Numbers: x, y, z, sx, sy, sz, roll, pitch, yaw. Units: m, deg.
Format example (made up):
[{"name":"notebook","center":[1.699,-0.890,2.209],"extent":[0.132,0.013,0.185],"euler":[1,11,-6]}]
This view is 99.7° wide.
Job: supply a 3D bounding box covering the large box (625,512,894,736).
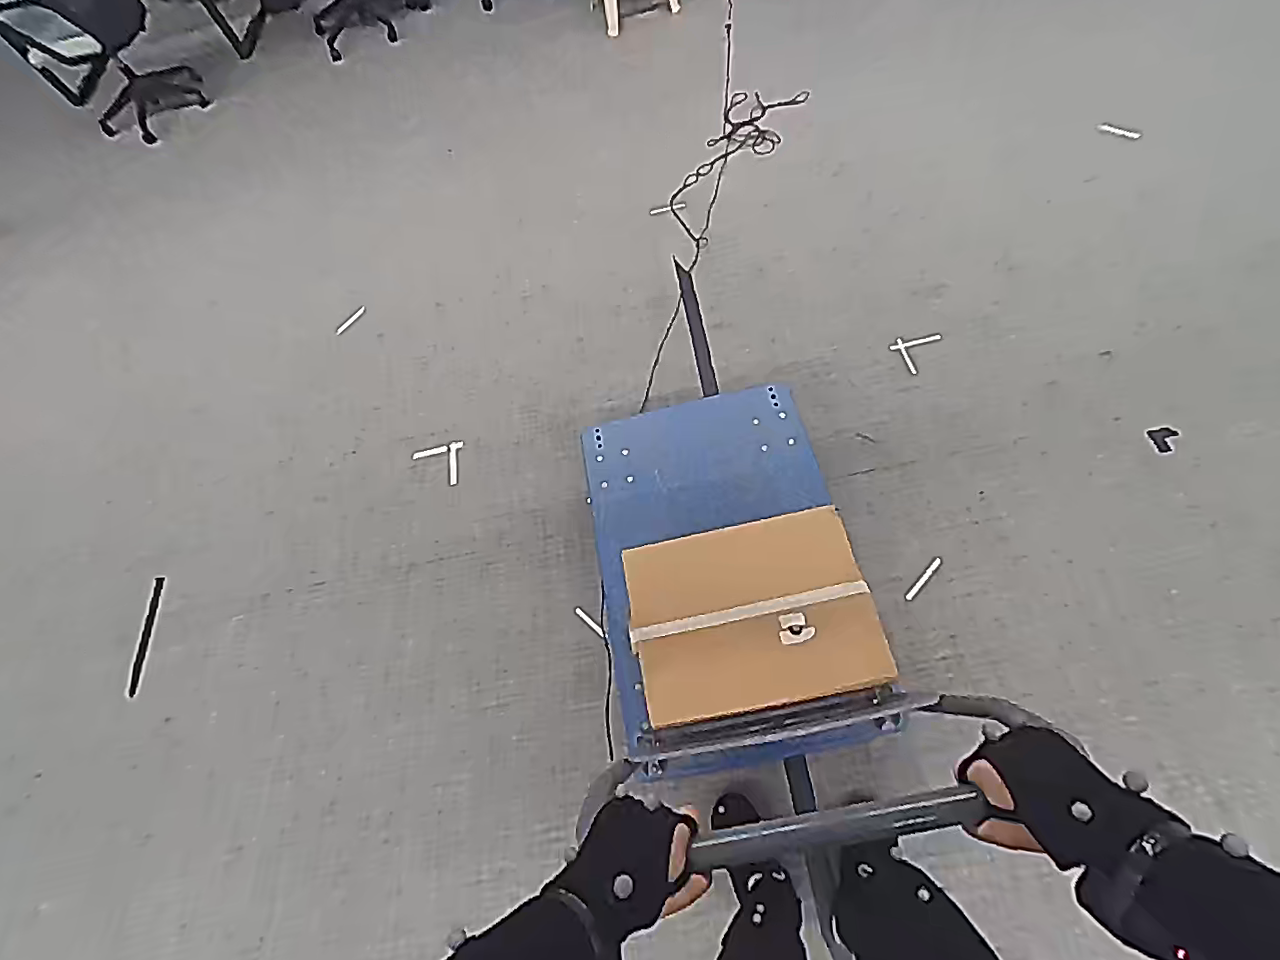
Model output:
[{"name":"large box","center":[0.210,0.301,1.075],"extent":[0.408,0.320,0.320],"euler":[-13,65,2]}]
